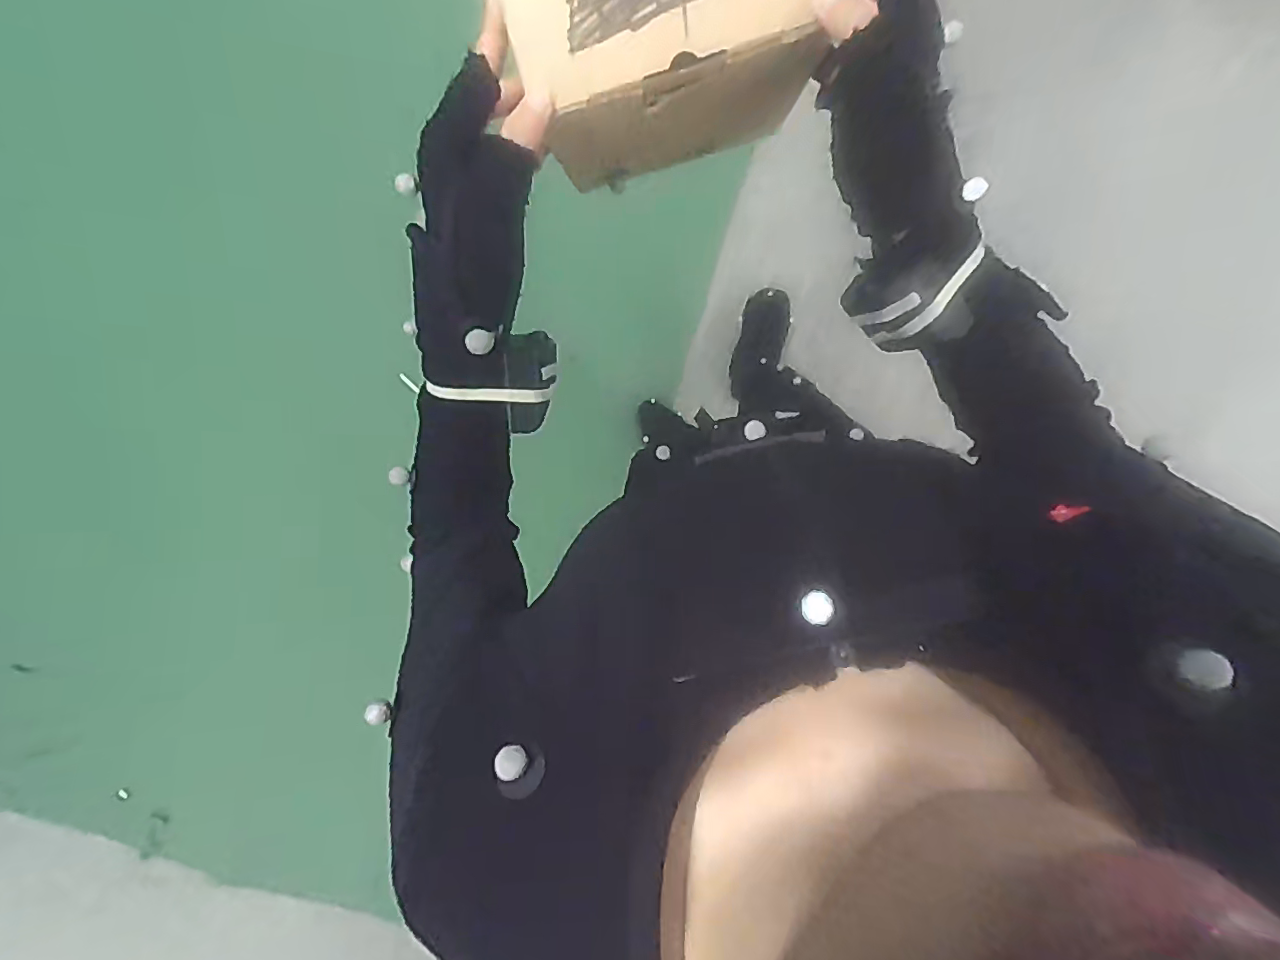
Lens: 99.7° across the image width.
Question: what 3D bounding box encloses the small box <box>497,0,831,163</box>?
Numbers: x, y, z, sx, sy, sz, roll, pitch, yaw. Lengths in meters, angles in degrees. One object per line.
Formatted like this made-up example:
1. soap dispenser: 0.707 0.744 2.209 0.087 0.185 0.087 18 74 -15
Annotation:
1. small box: 0.003 -0.317 0.325 0.168 0.176 0.179 -13 104 7
